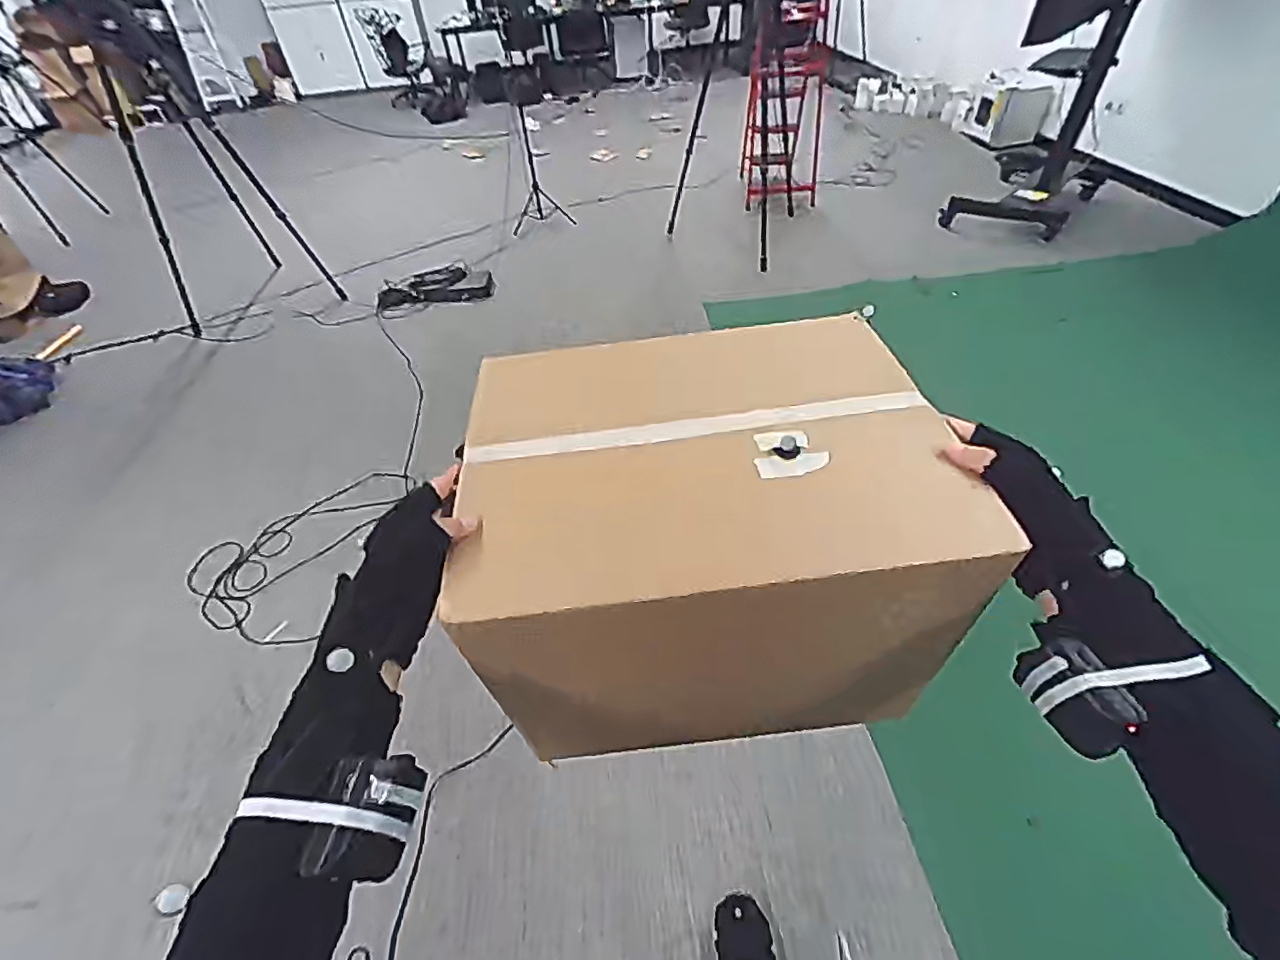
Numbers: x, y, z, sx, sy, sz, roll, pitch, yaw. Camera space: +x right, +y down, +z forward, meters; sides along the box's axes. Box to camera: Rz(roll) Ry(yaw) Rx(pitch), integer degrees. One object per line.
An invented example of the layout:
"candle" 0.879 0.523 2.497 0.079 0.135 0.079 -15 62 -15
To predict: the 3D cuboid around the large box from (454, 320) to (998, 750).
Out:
"large box" 0.057 0.062 0.590 0.408 0.320 0.320 -7 48 -1
